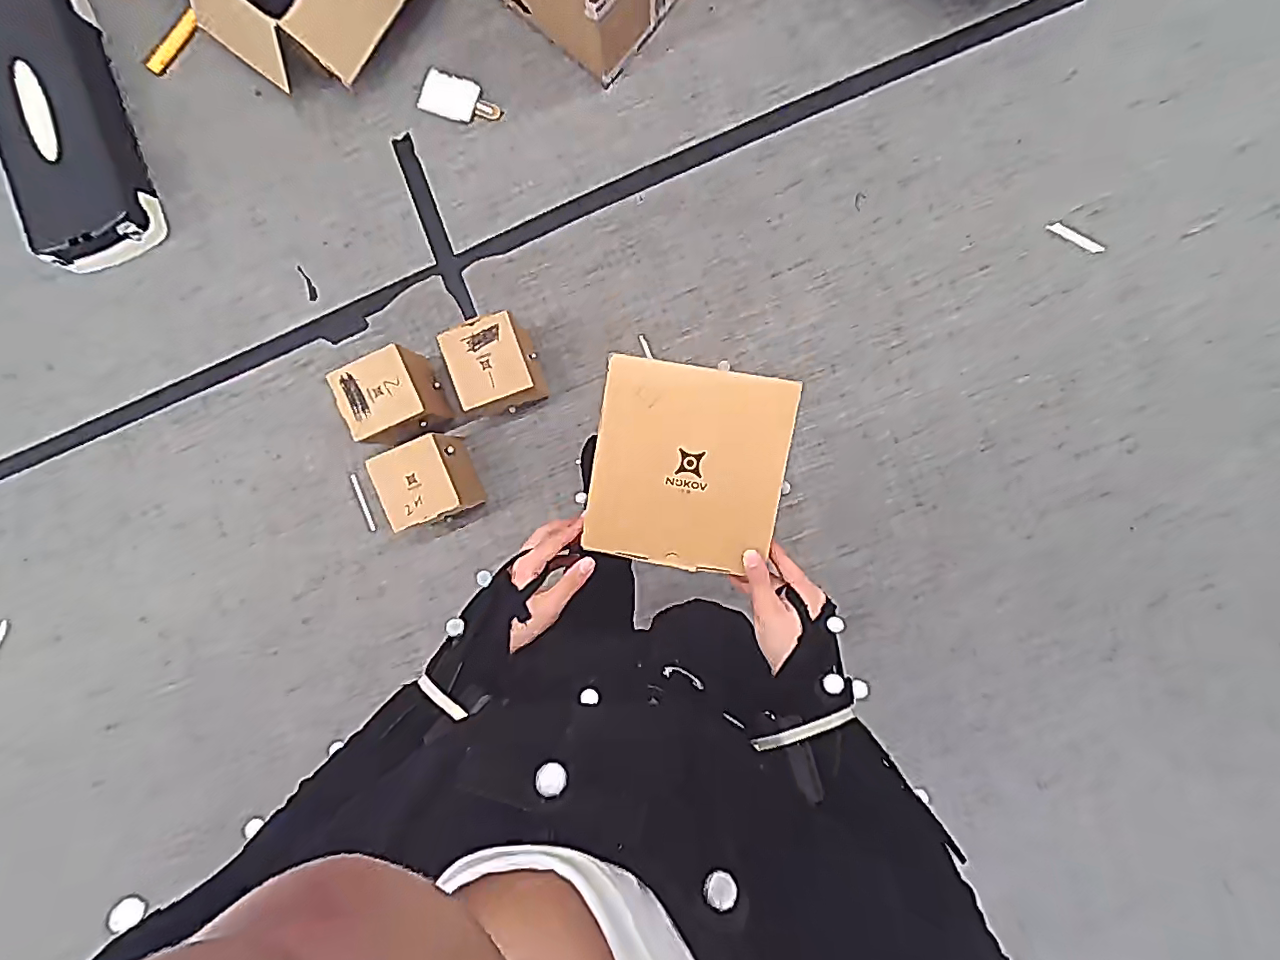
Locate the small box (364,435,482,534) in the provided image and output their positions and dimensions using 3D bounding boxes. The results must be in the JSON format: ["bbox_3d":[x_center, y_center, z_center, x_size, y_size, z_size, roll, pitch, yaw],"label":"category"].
[{"bbox_3d":[-0.493,0.009,1.252,0.168,0.176,0.179,-22,90,4],"label":"small box"}]

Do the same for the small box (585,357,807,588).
[{"bbox_3d":[0.046,-0.014,0.536,0.168,0.176,0.179,9,98,0],"label":"small box"}]

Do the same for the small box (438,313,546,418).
[{"bbox_3d":[-0.331,-0.254,1.238,0.168,0.176,0.179,-19,91,3],"label":"small box"}]
